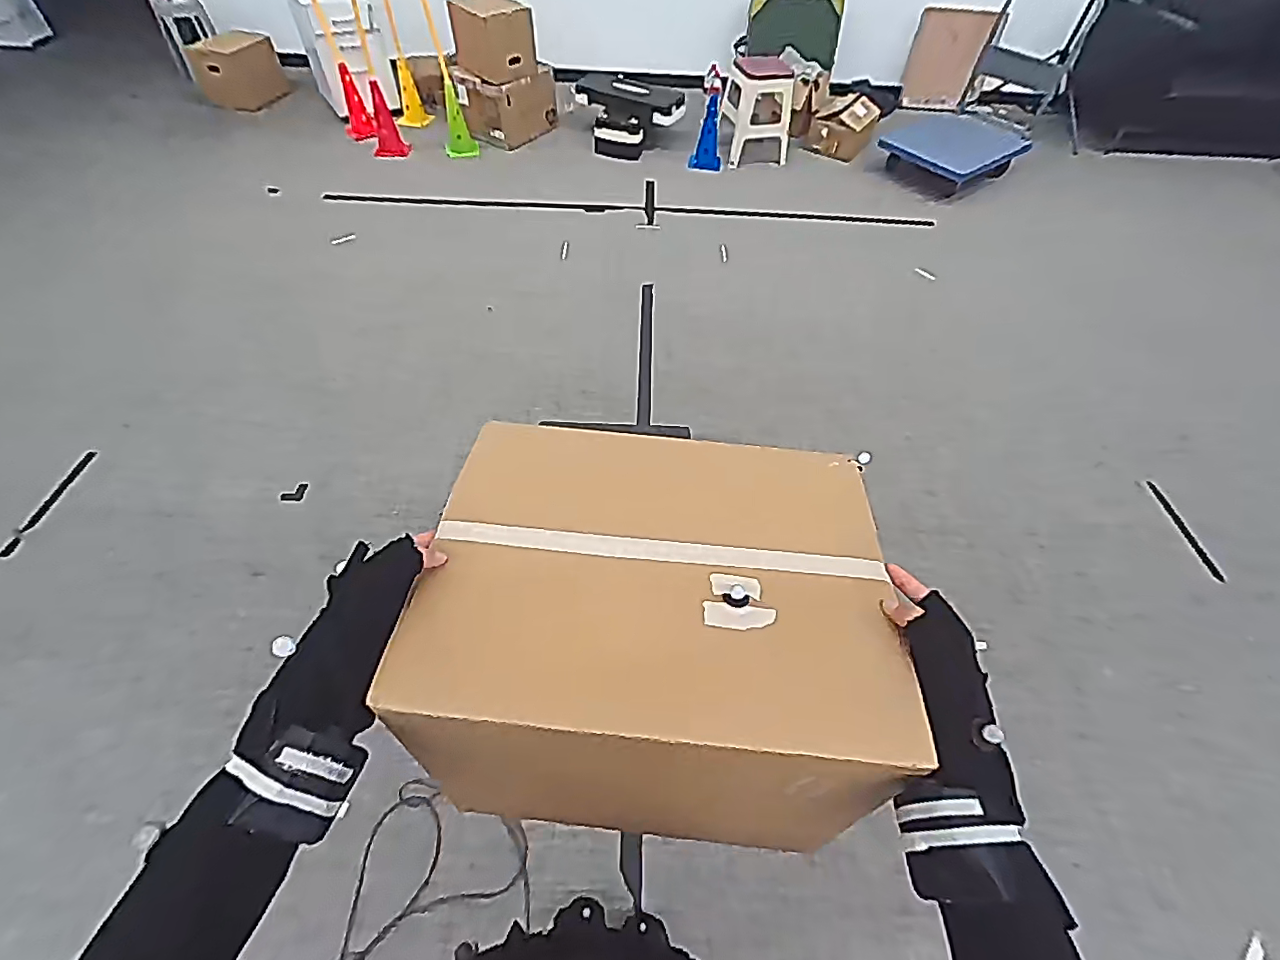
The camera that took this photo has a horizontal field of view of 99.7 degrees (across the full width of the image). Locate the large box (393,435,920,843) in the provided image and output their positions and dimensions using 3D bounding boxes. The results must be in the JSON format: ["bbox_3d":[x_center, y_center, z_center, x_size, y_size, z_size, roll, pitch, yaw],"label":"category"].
[{"bbox_3d":[0.014,0.178,0.608,0.408,0.320,0.320,6,47,2],"label":"large box"}]
